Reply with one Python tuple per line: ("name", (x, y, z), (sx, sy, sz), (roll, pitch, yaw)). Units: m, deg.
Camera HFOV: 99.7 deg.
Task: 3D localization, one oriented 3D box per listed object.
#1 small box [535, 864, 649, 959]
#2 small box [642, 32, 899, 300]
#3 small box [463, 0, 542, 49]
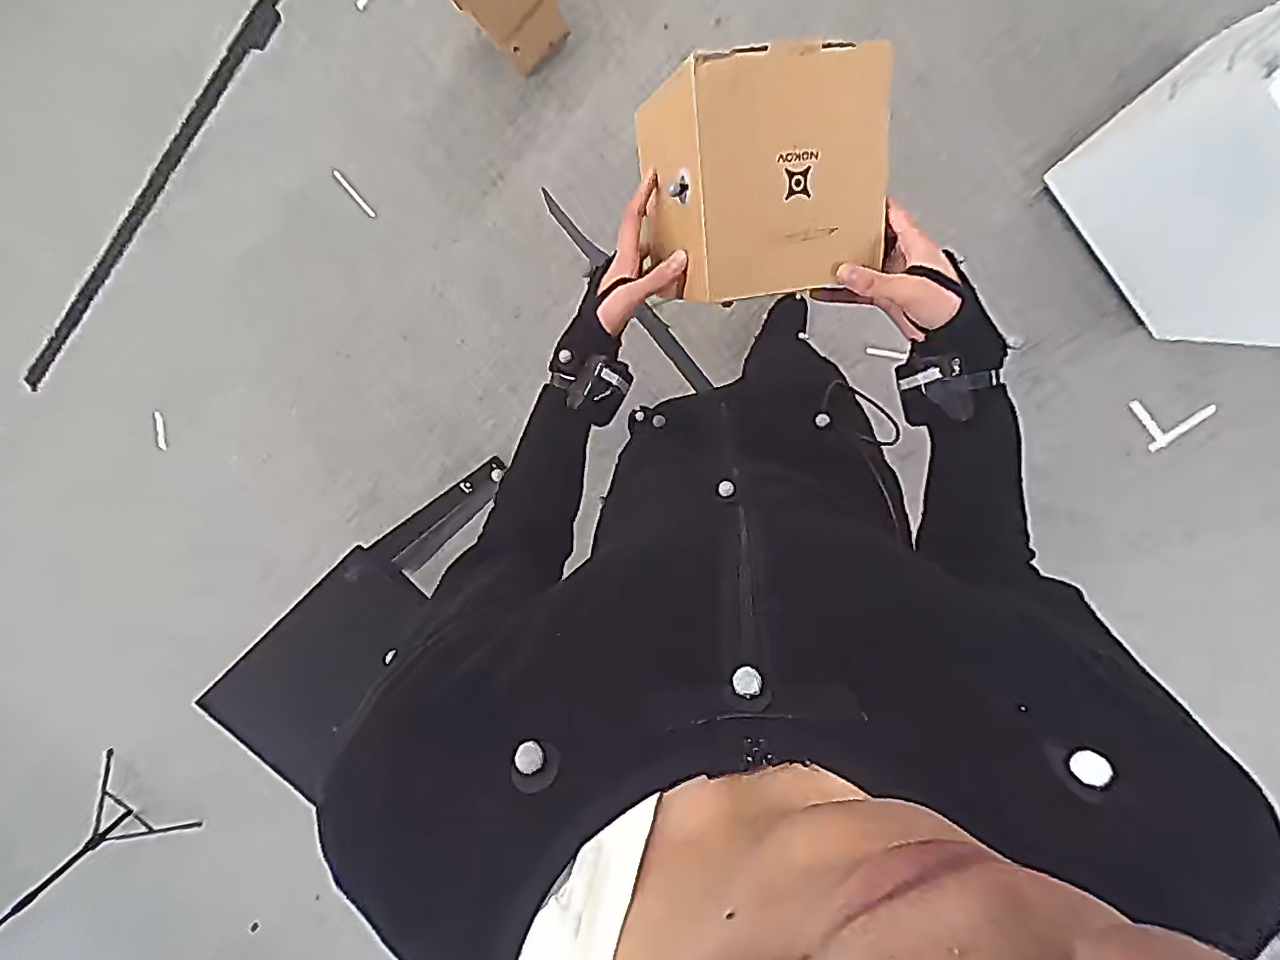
("small box", (-0.094, 0.942, 1.111), (0.179, 0.176, 0.168), (-41, 98, 16))
("small box", (0.106, -0.267, 0.494), (0.168, 0.176, 0.179), (-12, 113, -11))
("small box", (-0.319, -1.058, 1.118), (0.179, 0.176, 0.168), (-39, 98, 15))
